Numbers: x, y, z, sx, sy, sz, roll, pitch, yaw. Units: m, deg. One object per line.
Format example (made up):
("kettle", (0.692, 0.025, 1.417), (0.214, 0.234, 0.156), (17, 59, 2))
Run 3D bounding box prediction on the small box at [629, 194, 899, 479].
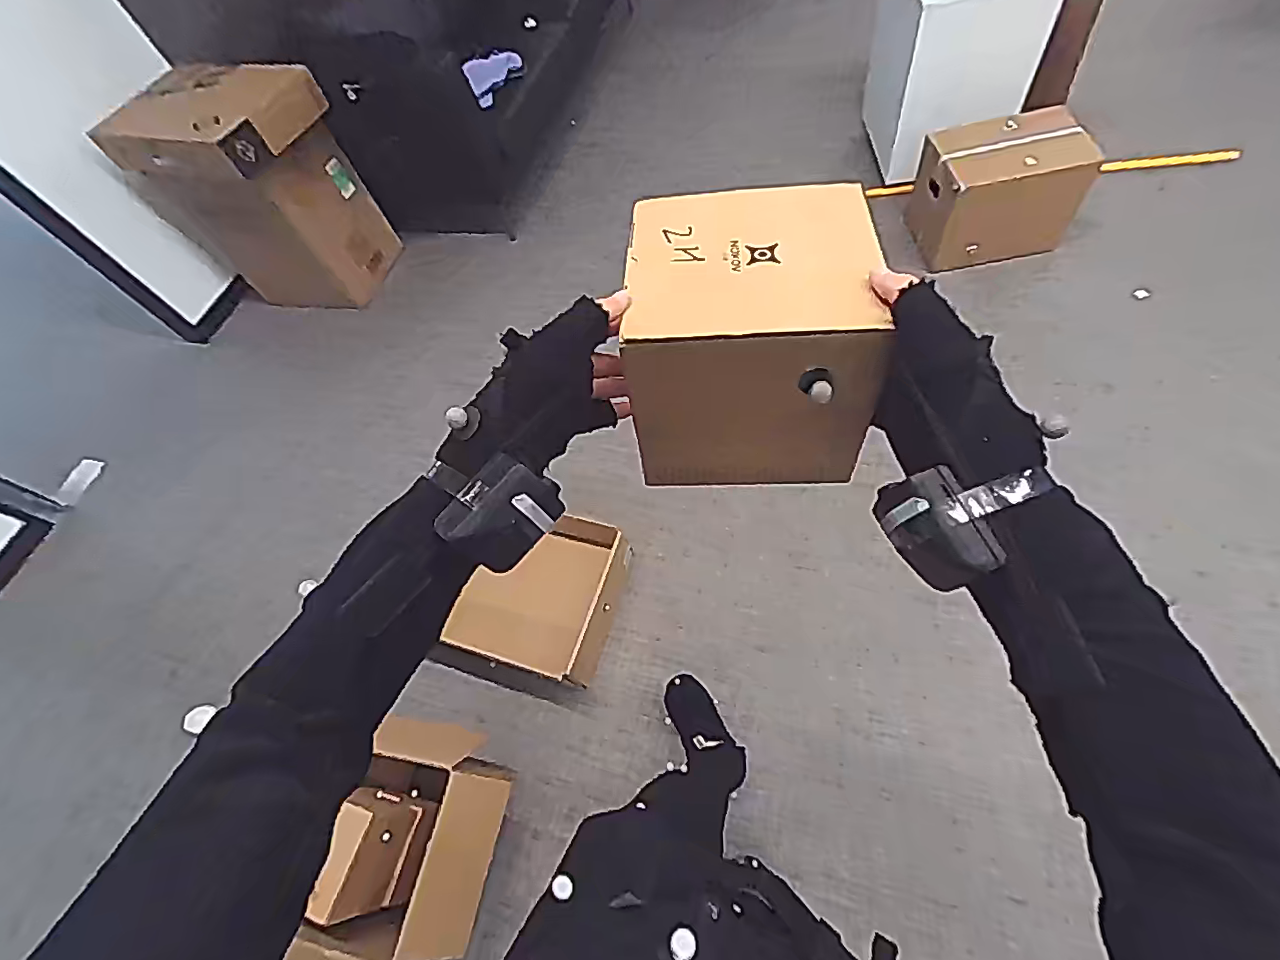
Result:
("small box", (0.091, -0.112, 0.459), (0.179, 0.176, 0.168), (-1, 55, 7))
